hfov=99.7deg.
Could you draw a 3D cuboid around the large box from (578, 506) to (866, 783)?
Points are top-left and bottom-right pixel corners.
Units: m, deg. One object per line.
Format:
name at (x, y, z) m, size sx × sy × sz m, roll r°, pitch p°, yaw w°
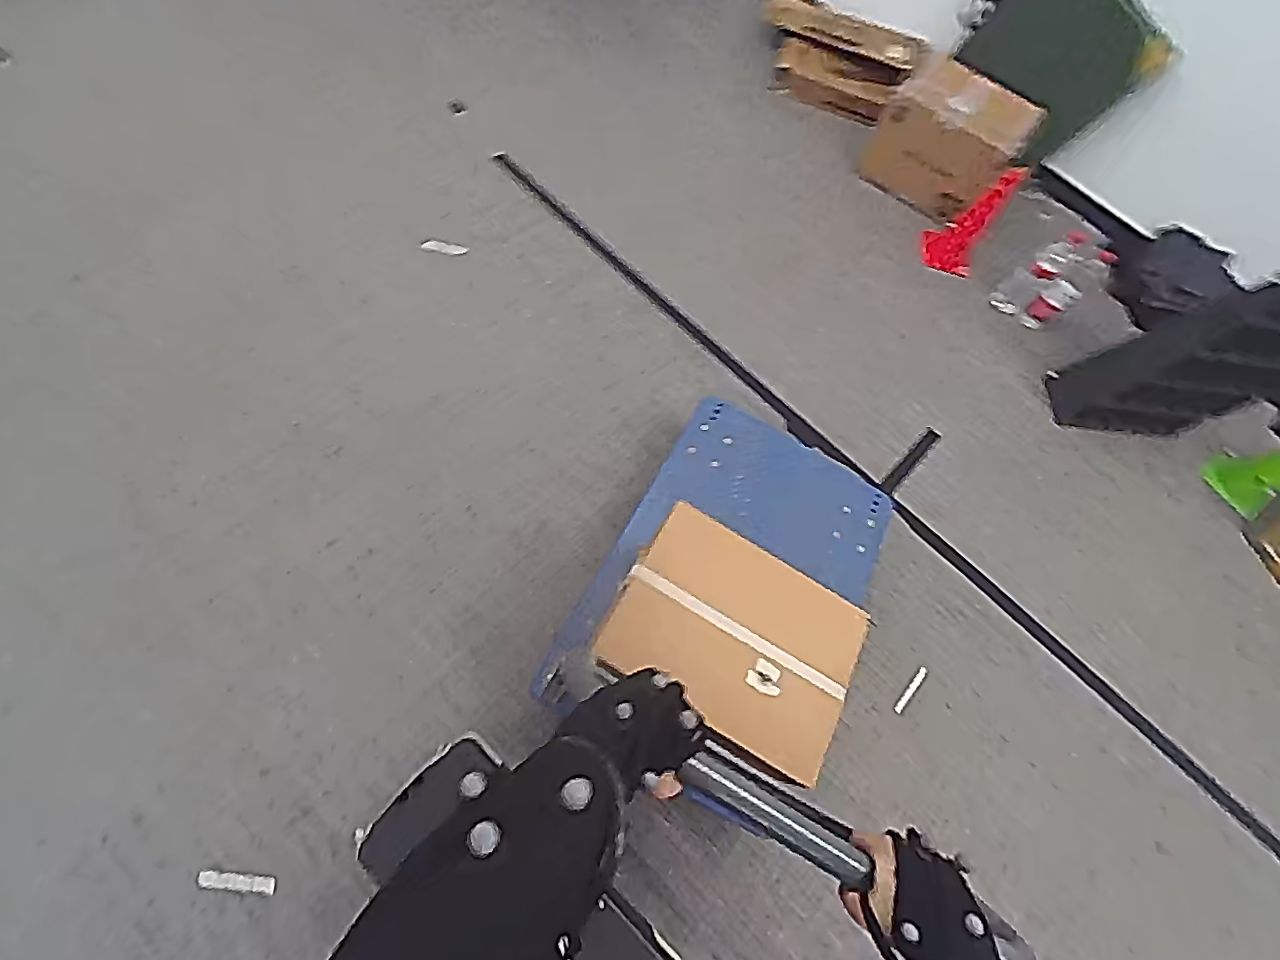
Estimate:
large box at (0.137, 0.318, 1.046) m, size 0.408 × 0.320 × 0.320 m, roll 32°, pitch 65°, yaw 2°
